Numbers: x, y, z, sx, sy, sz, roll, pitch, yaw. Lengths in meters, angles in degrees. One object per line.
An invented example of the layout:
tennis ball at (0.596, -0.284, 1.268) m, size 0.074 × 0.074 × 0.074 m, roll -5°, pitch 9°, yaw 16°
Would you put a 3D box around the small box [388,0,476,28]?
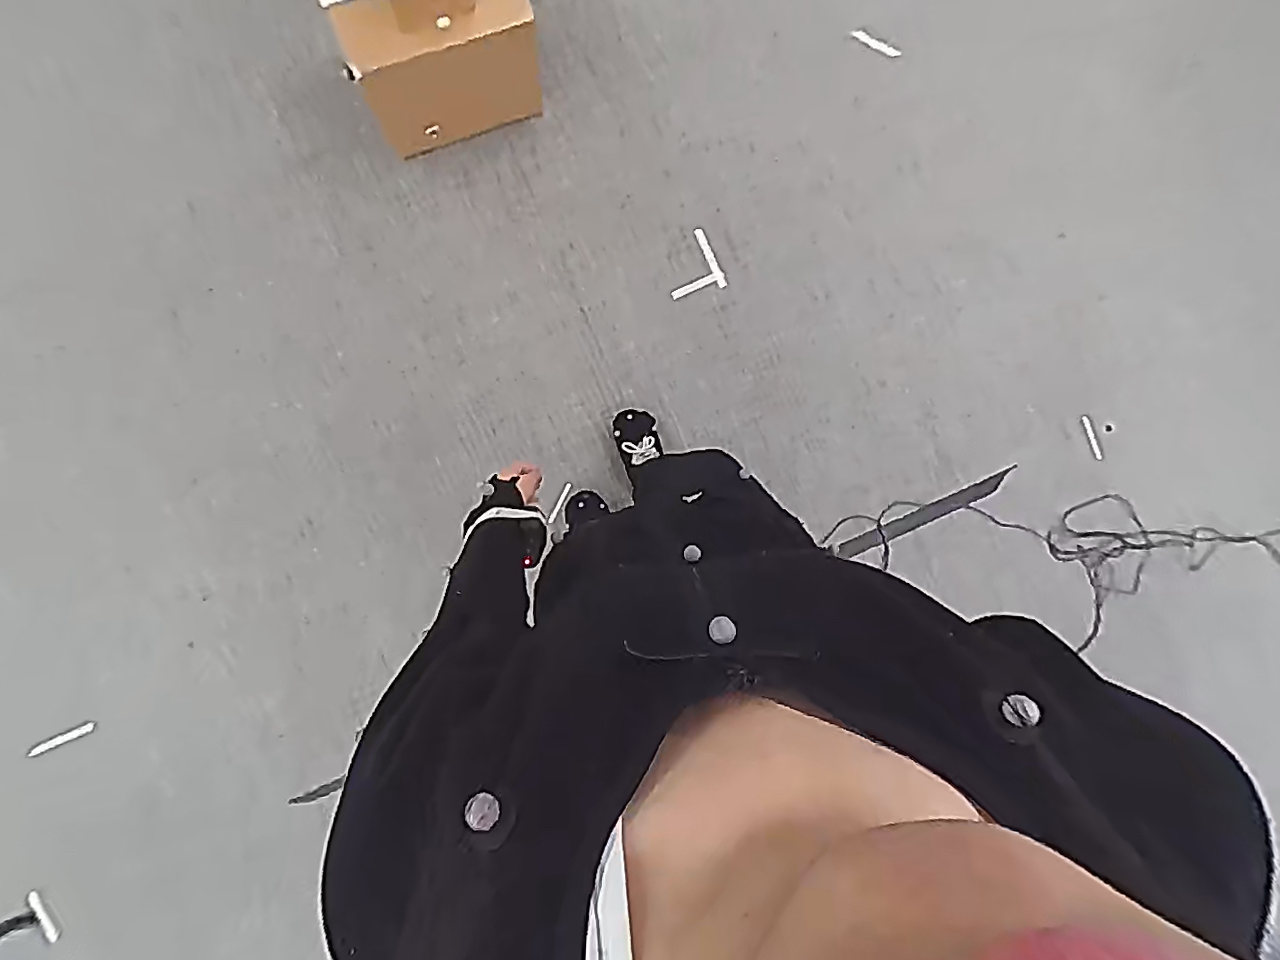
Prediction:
small box at (-0.436, -1.030, 1.041) m, size 0.179 × 0.176 × 0.168 m, roll -24°, pitch 95°, yaw -6°
